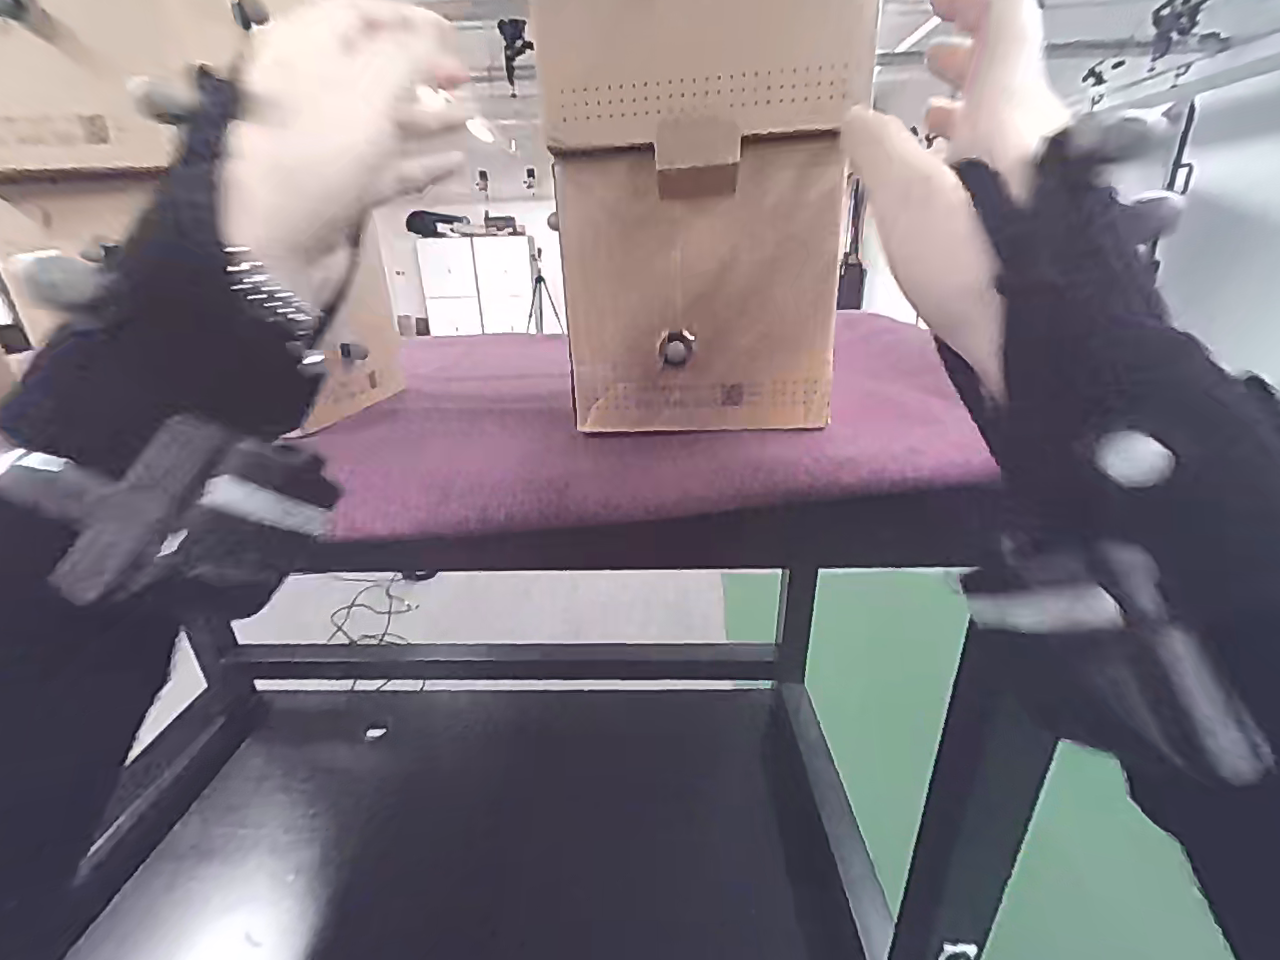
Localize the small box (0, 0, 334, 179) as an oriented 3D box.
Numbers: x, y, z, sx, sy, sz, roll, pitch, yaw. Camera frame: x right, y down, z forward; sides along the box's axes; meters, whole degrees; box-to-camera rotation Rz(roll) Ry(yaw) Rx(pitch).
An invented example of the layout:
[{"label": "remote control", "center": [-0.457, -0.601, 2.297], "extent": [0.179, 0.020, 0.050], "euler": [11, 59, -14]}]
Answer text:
[{"label": "small box", "center": [-0.331, -0.291, 0.351], "extent": [0.168, 0.176, 0.179], "euler": [-3, 23, -2]}]

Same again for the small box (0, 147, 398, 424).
[{"label": "small box", "center": [-0.320, -0.143, 0.422], "extent": [0.179, 0.176, 0.168], "euler": [0, 22, 3]}]

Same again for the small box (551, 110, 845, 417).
[{"label": "small box", "center": [0.040, -0.148, 0.401], "extent": [0.168, 0.176, 0.179], "euler": [-1, 21, 5]}]
